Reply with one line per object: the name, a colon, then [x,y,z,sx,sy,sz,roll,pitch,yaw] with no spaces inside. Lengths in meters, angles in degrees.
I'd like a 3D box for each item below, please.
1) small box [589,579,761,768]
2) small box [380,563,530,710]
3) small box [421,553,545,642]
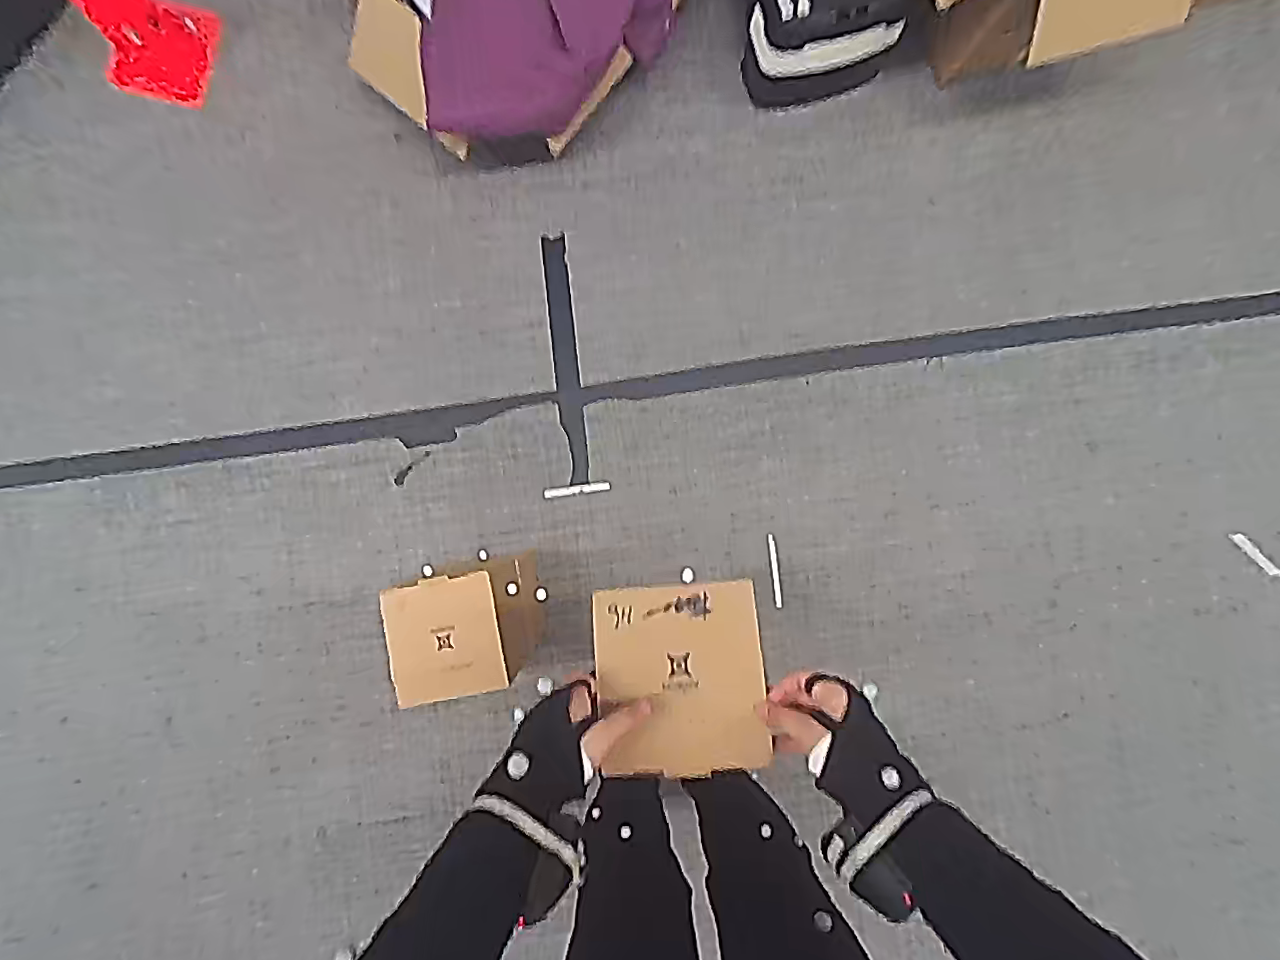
small box: [0.041,0.208,0.618,0.168,0.176,0.179,-5,77,4]
small box: [-0.285,0.236,0.865,0.168,0.176,0.179,-12,90,0]
small box: [-0.290,0.238,1.028,0.179,0.176,0.168,-9,89,-1]
